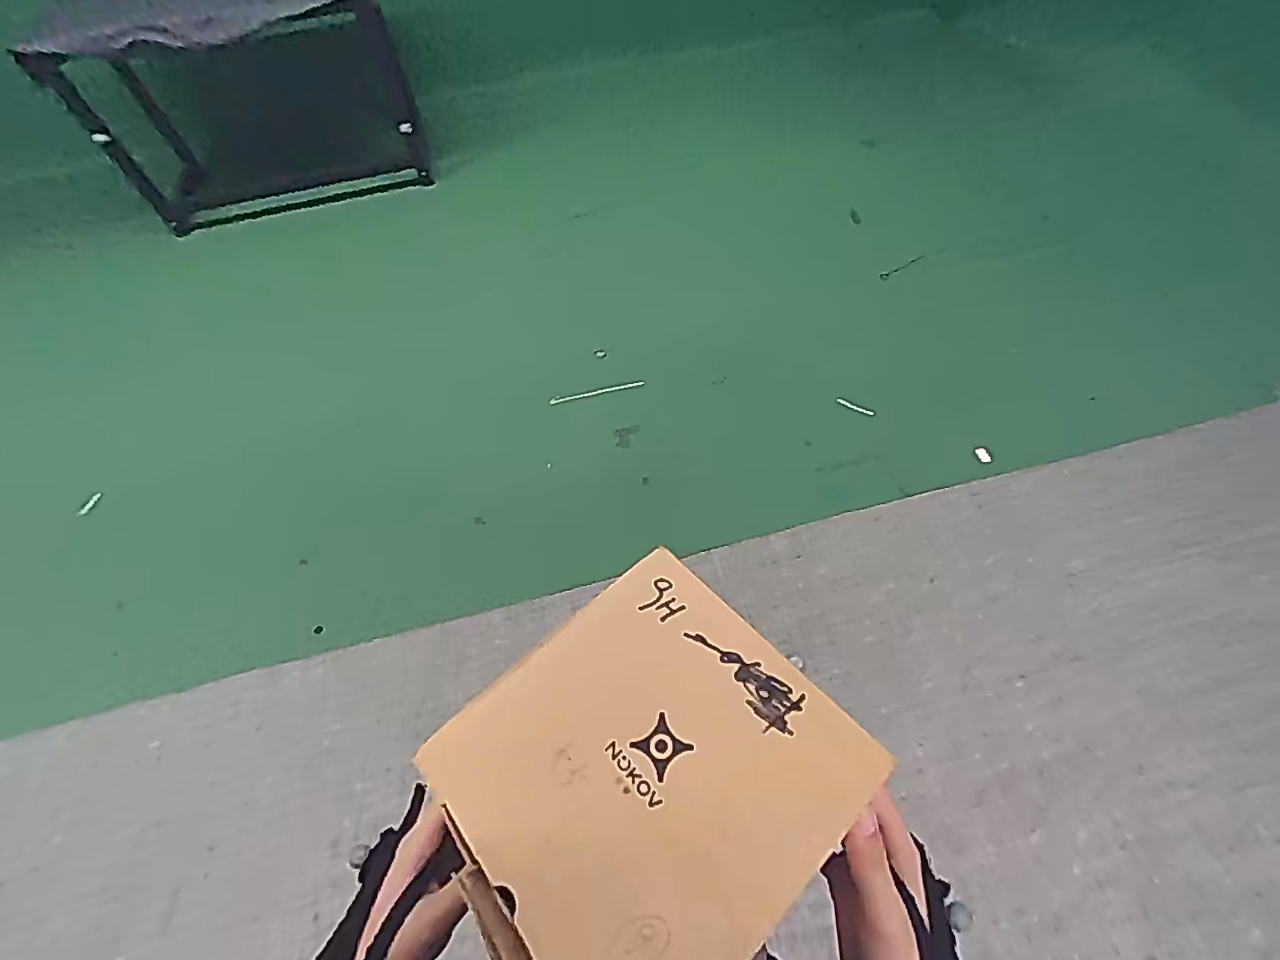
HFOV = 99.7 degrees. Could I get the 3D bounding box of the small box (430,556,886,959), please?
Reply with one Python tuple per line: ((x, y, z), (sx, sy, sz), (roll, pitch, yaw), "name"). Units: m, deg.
((0.012, 0.188, 0.335), (0.179, 0.176, 0.168), (-37, 59, -20), "small box")
